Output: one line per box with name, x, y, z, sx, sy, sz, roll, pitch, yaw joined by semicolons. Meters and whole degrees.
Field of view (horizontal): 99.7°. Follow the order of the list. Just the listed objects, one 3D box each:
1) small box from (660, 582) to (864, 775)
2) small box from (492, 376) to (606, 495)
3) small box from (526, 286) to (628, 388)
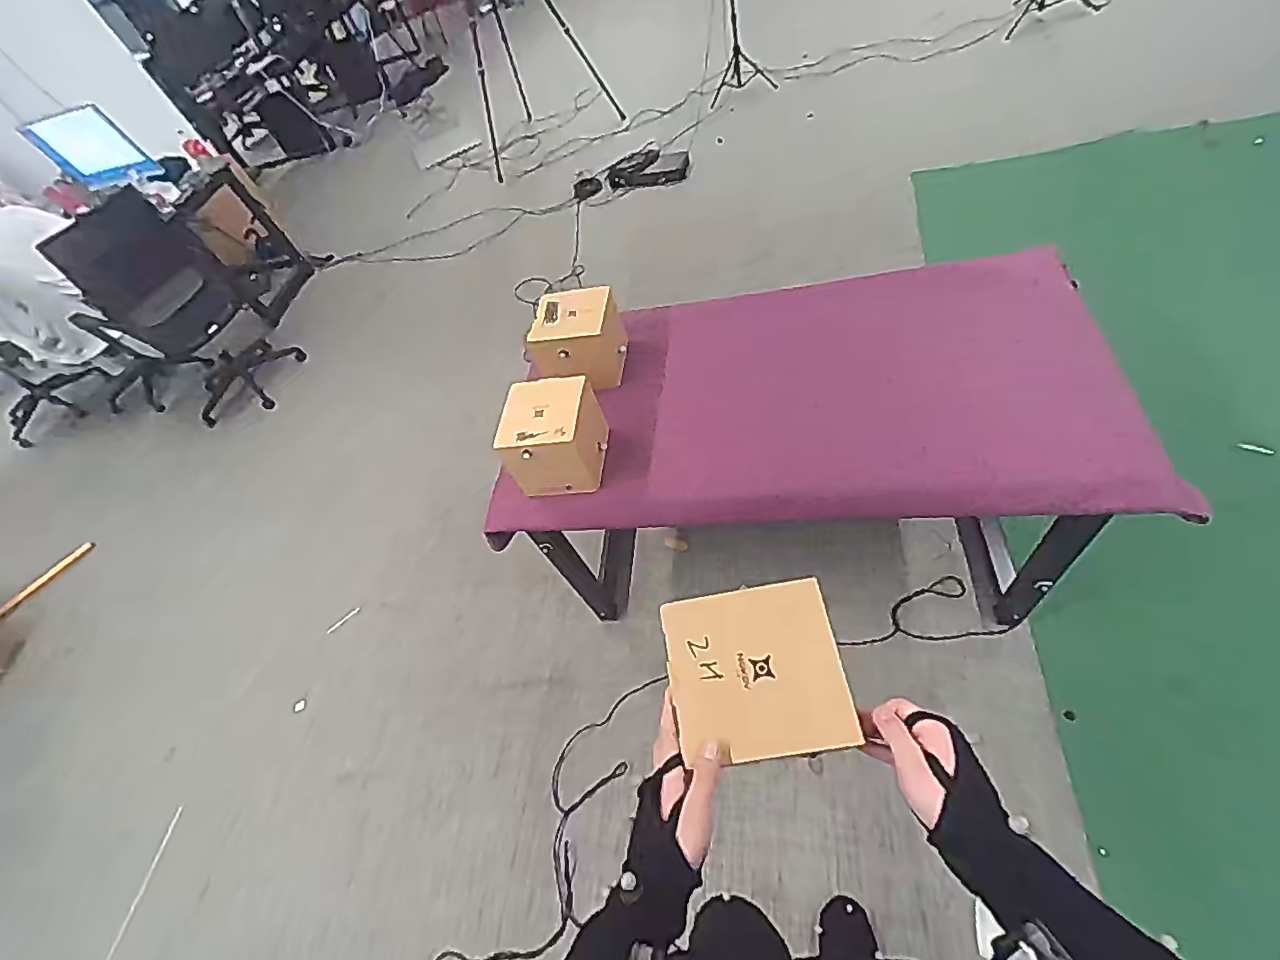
small box;0.128;0.229;0.613;0.179;0.176;0.168;-11;61;6
small box;-0.176;-0.088;1.111;0.168;0.176;0.179;-4;53;15
small box;-0.140;-0.328;1.272;0.179;0.176;0.168;-2;56;15
